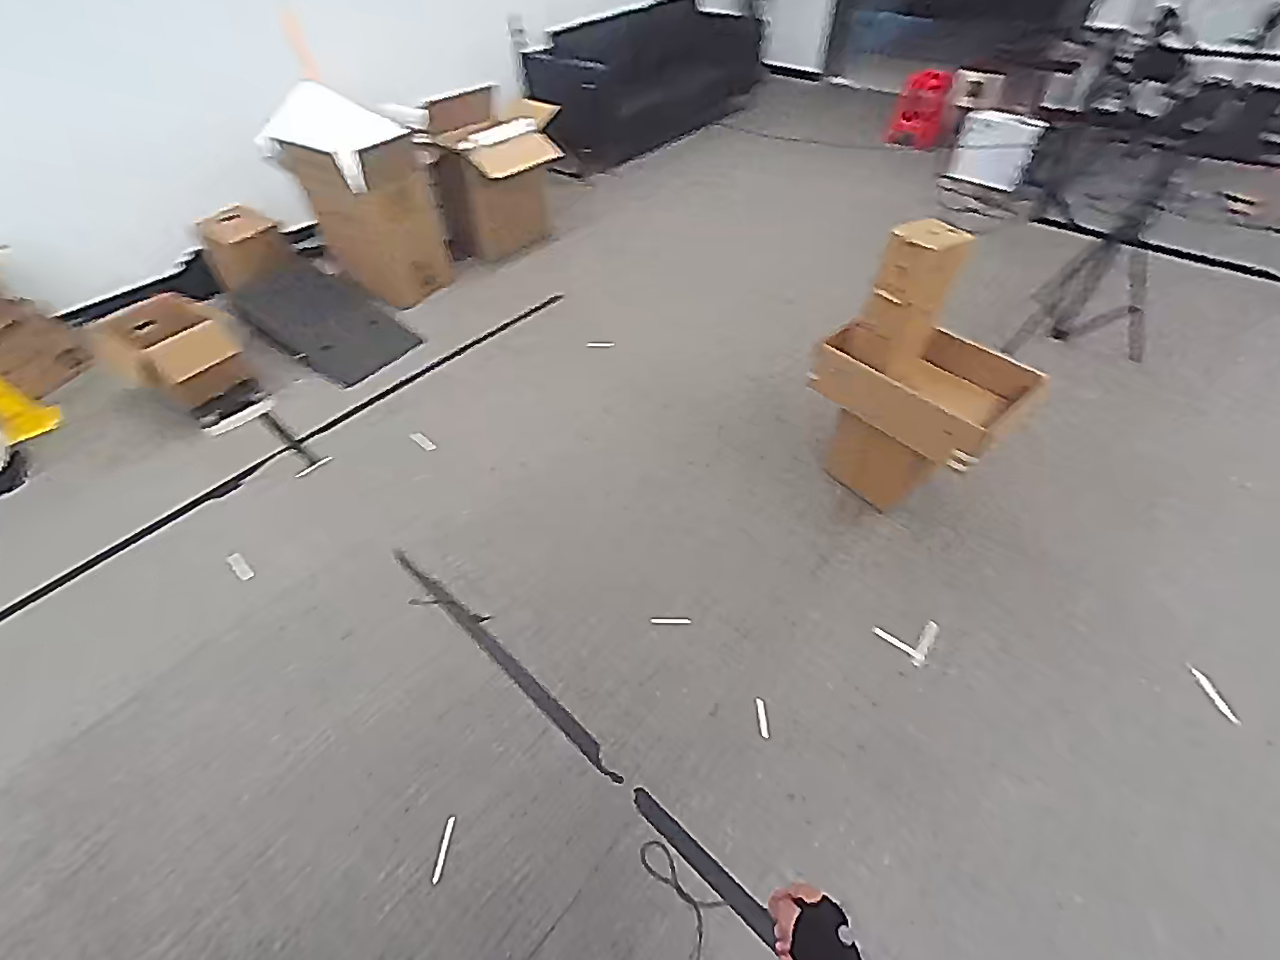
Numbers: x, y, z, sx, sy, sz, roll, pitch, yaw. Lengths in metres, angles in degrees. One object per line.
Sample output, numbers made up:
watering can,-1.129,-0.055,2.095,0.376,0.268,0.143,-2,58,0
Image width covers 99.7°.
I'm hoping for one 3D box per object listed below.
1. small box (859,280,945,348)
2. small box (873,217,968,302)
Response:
small box,0.838,-0.555,1.754,0.179,0.176,0.168,-25,52,-21
small box,0.831,-0.661,1.628,0.179,0.176,0.168,-23,51,-18
